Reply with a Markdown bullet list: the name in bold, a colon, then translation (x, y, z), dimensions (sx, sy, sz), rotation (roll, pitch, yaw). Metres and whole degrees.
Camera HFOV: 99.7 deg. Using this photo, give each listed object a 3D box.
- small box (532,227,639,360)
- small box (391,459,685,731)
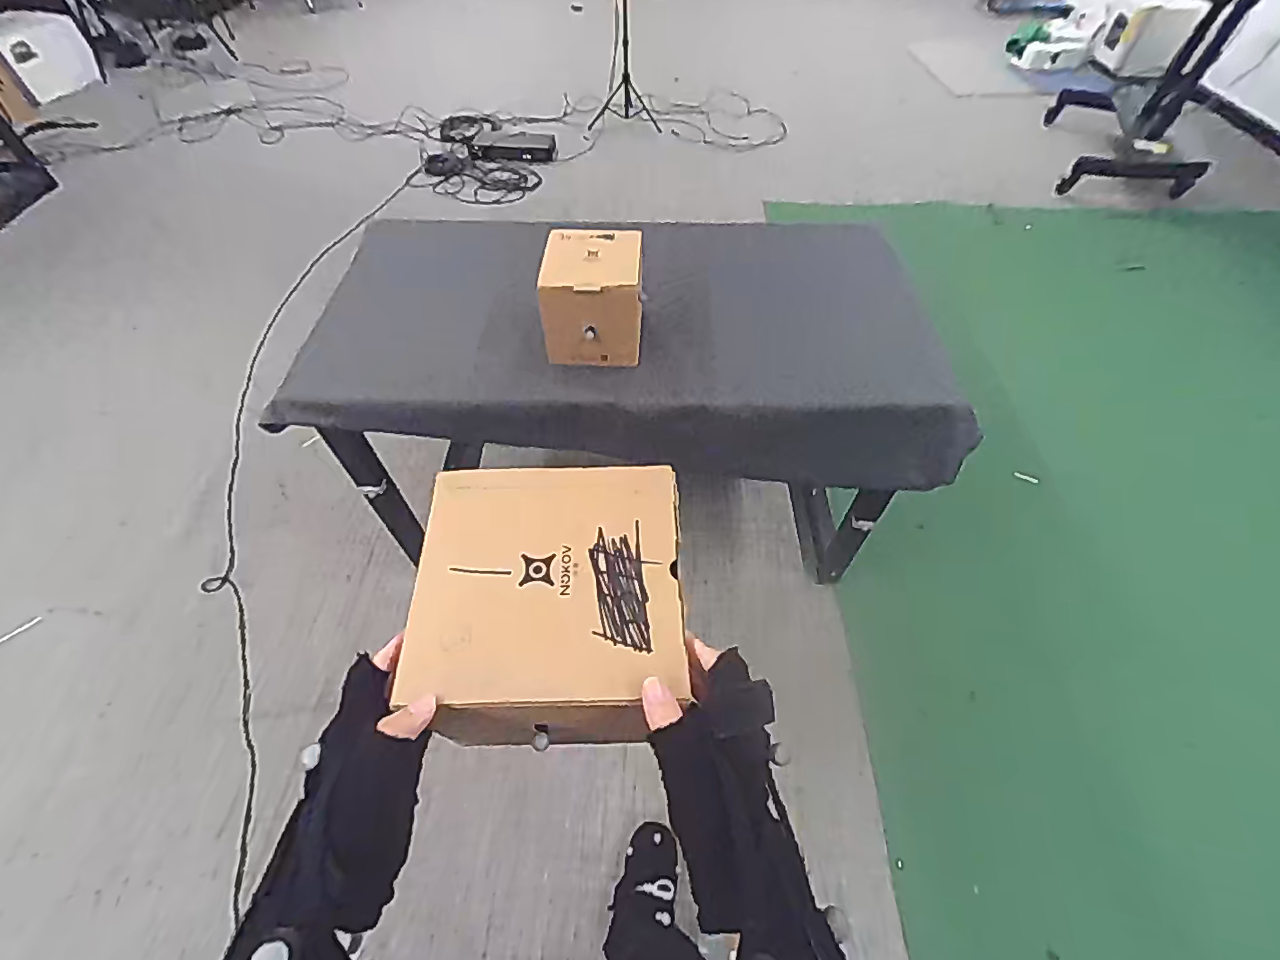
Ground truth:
- **small box**: translation (-0.089, -0.334, 0.981), dimensions (0.168, 0.176, 0.179), rotation (1, 54, 2)
- **small box**: translation (-0.063, 0.097, 0.428), dimensions (0.179, 0.176, 0.168), rotation (-1, 58, -1)
